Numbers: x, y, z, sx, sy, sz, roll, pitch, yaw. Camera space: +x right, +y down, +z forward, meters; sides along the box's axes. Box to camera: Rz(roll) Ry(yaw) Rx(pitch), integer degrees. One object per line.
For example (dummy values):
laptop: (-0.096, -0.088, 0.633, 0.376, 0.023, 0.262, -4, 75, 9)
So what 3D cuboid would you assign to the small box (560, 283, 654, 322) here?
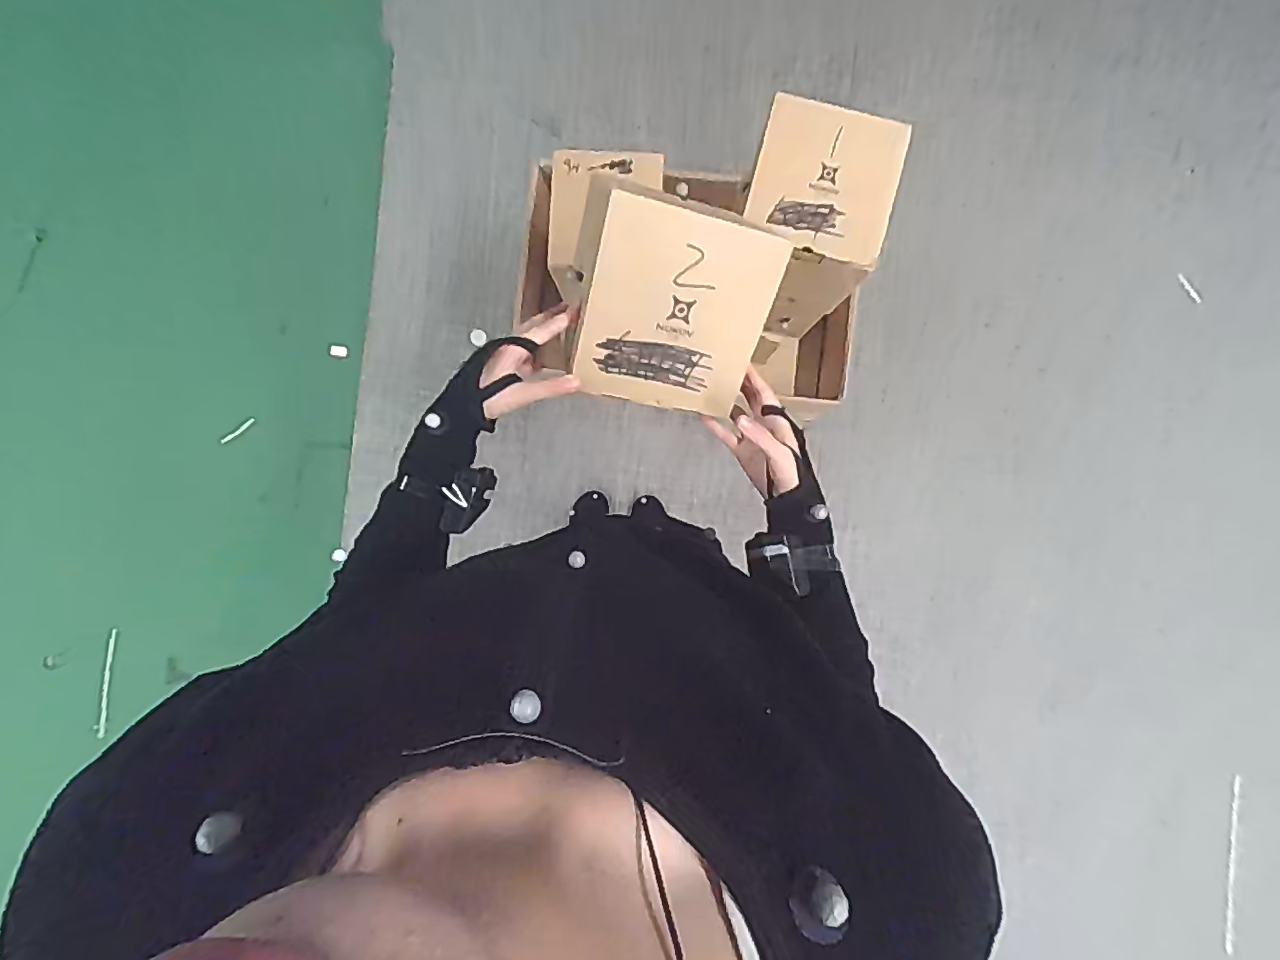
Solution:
small box: (-0.053, -0.415, 1.025, 0.168, 0.176, 0.179, 3, 90, 2)

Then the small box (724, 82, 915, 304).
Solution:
small box: (0.213, -0.348, 0.693, 0.168, 0.176, 0.179, 15, 90, 1)

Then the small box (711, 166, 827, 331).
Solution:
small box: (0.213, -0.352, 0.857, 0.168, 0.176, 0.179, 12, 90, 1)

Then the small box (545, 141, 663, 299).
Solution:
small box: (-0.050, -0.400, 0.861, 0.168, 0.176, 0.179, 4, 90, 1)
